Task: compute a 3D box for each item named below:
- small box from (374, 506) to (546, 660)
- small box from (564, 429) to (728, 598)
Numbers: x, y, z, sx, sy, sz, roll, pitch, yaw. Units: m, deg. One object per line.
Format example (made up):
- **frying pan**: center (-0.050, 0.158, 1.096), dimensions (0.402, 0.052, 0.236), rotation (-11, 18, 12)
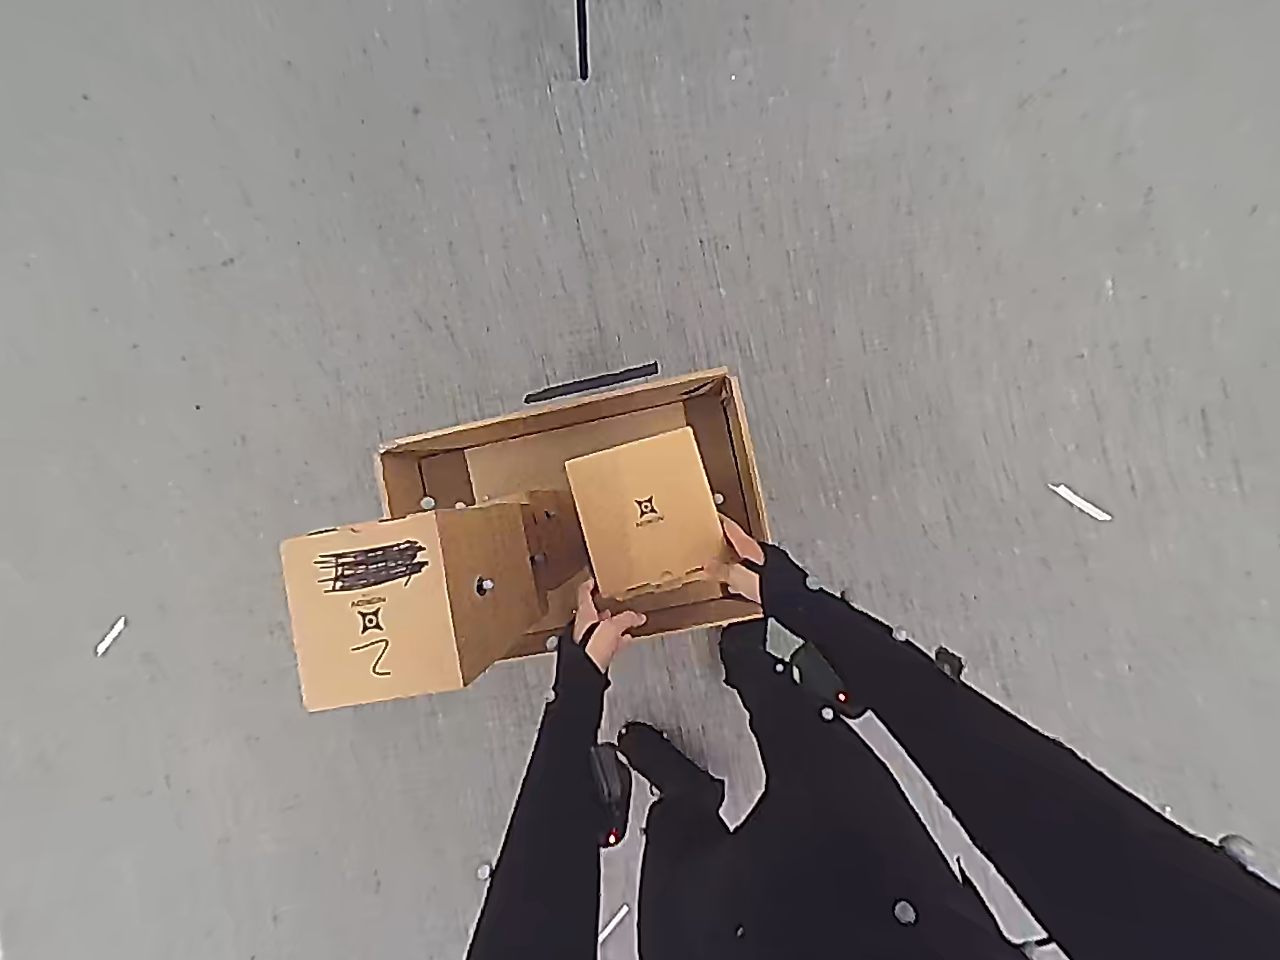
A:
- **small box**: center (-0.244, 0.137, 0.768), dimensions (0.168, 0.176, 0.179), rotation (-11, 86, 5)
- **small box**: center (0.005, 0.050, 0.737), dimensions (0.168, 0.176, 0.179), rotation (-17, 83, -2)
